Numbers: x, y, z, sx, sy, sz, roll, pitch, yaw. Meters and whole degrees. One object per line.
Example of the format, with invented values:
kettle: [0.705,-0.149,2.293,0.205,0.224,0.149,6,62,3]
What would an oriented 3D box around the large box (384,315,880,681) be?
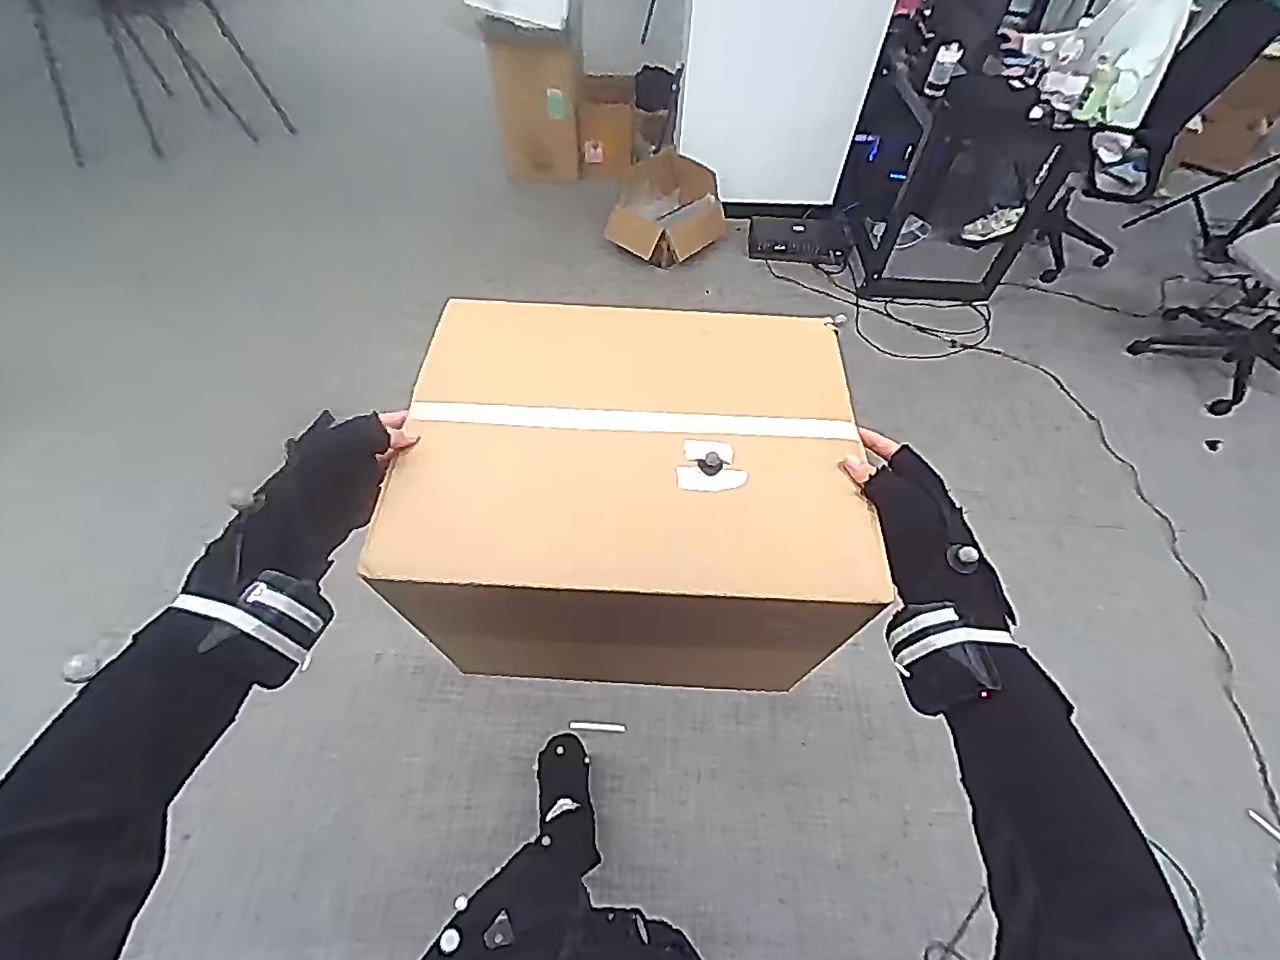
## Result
large box: [-0.008,0.037,0.630,0.408,0.320,0.320,3,58,-1]
